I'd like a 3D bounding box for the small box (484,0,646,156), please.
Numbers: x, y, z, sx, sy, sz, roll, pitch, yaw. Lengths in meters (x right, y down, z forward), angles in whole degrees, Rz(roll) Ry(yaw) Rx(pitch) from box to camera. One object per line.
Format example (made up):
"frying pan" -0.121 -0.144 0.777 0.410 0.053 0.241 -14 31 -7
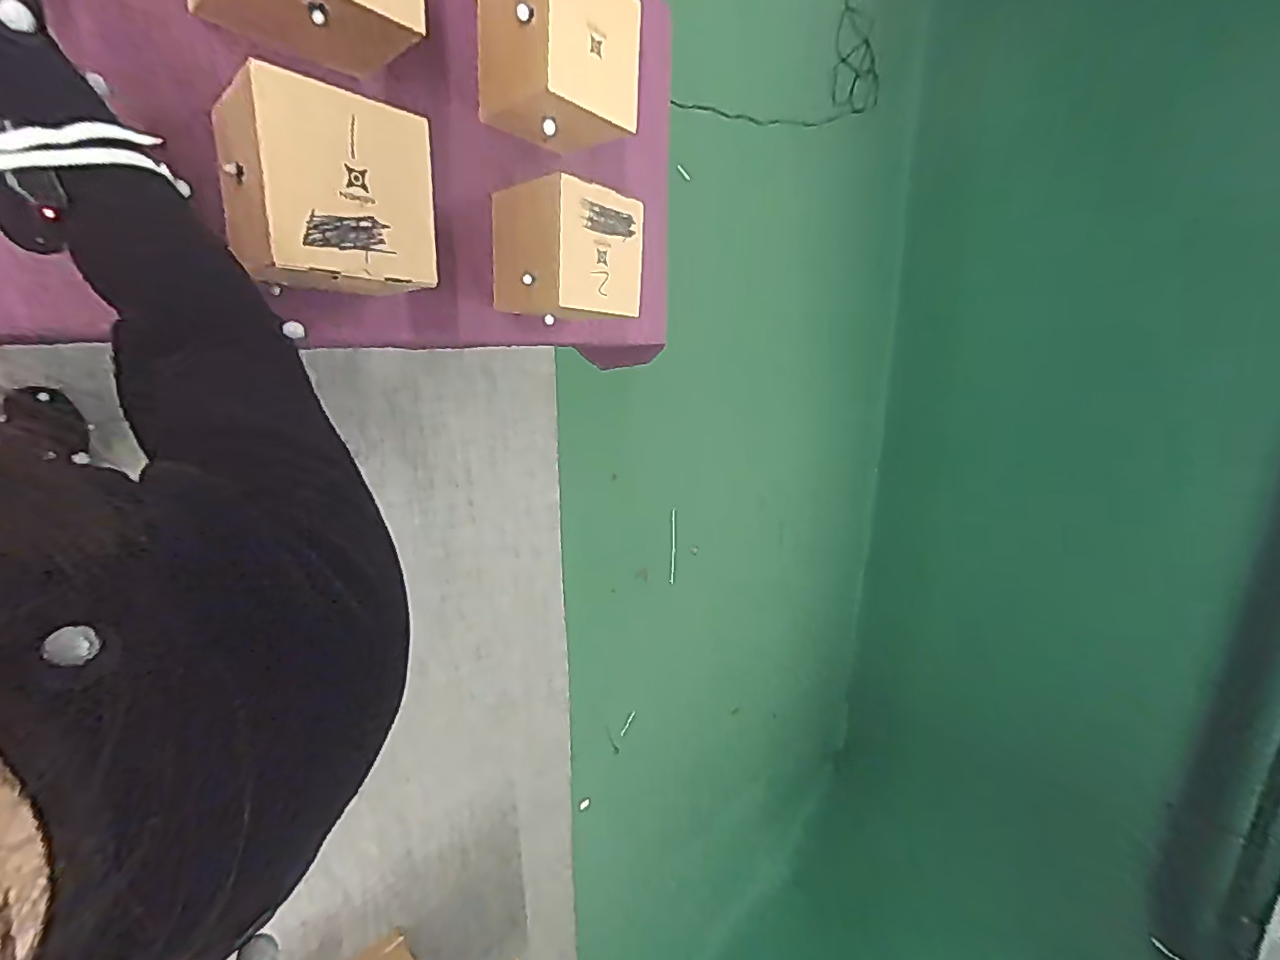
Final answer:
"small box" -0.111 -0.599 0.781 0.168 0.176 0.179 -9 105 -45

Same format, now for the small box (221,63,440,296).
"small box" -0.343 -0.306 0.604 0.168 0.176 0.179 -11 107 -45

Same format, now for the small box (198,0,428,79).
"small box" -0.339 -0.551 0.551 0.179 0.176 0.168 -10 107 -46
